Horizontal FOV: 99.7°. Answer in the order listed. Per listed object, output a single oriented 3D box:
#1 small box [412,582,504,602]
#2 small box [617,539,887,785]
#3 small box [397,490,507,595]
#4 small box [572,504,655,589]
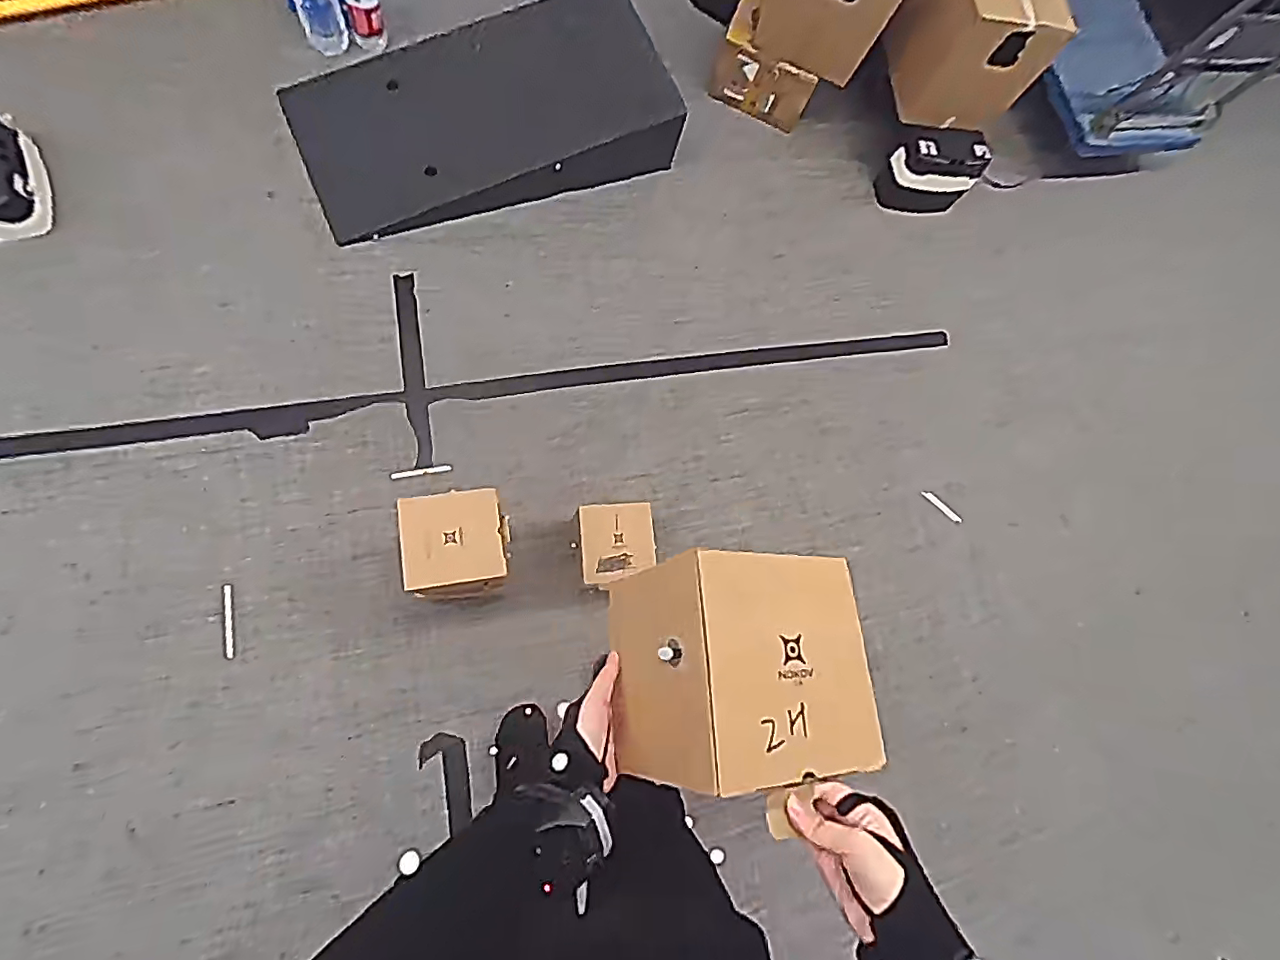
[{"bbox_3d":[-0.390,0.176,1.179,0.179,0.176,0.168,-2,76,-14],"label":"small box"},{"bbox_3d":[0.086,0.166,0.496,0.168,0.176,0.179,9,66,-27],"label":"small box"},{"bbox_3d":[-0.349,0.123,1.029,0.179,0.176,0.168,-7,77,-13],"label":"small box"},{"bbox_3d":[-0.067,0.160,1.256,0.168,0.176,0.179,-2,76,-13],"label":"small box"}]
